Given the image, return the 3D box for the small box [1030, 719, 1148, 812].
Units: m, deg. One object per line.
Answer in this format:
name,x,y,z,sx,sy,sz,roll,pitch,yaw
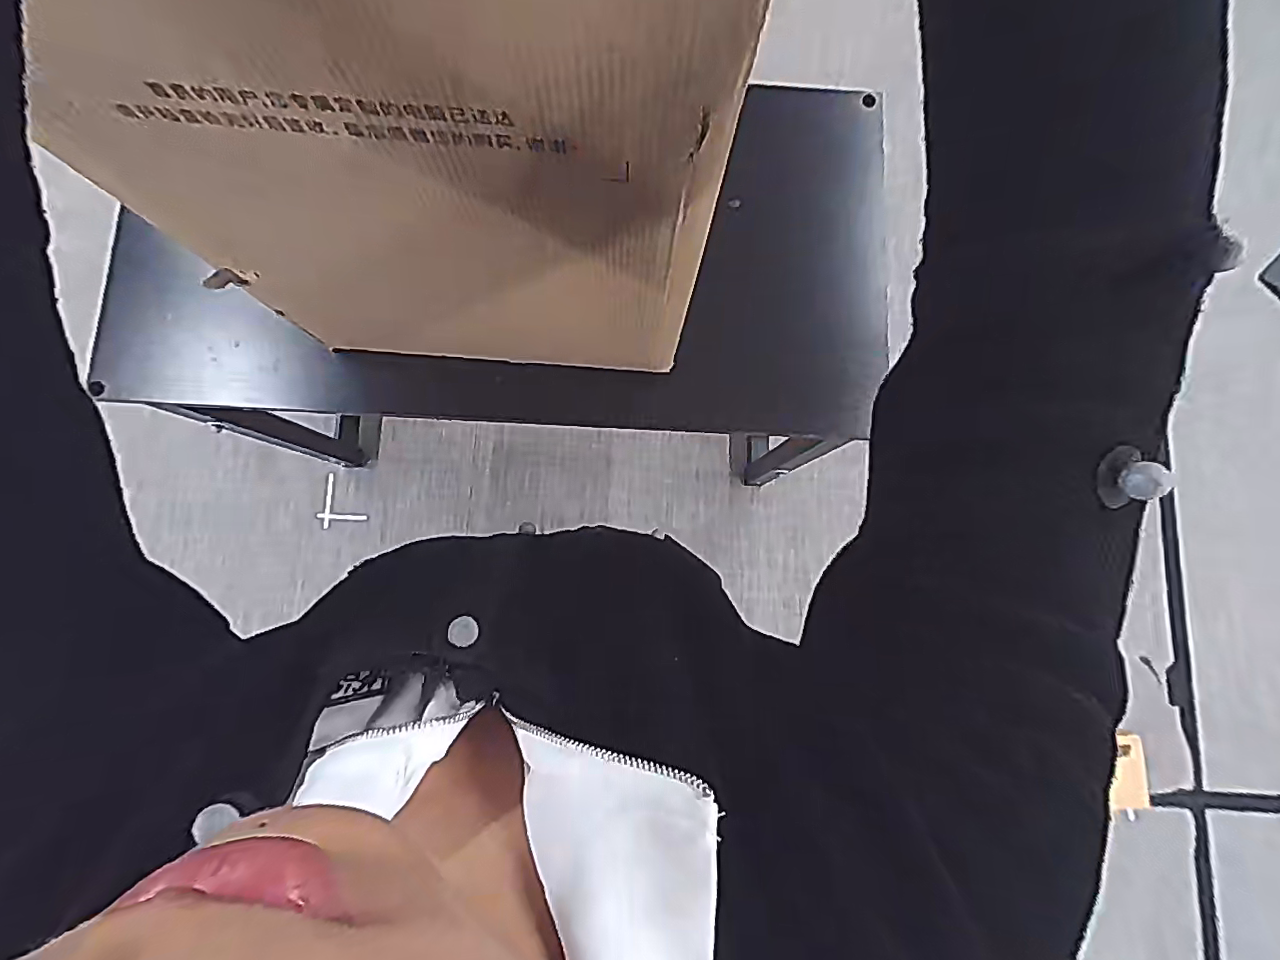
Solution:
small box,1.153,0.731,1.403,0.168,0.176,0.179,0,83,-2
